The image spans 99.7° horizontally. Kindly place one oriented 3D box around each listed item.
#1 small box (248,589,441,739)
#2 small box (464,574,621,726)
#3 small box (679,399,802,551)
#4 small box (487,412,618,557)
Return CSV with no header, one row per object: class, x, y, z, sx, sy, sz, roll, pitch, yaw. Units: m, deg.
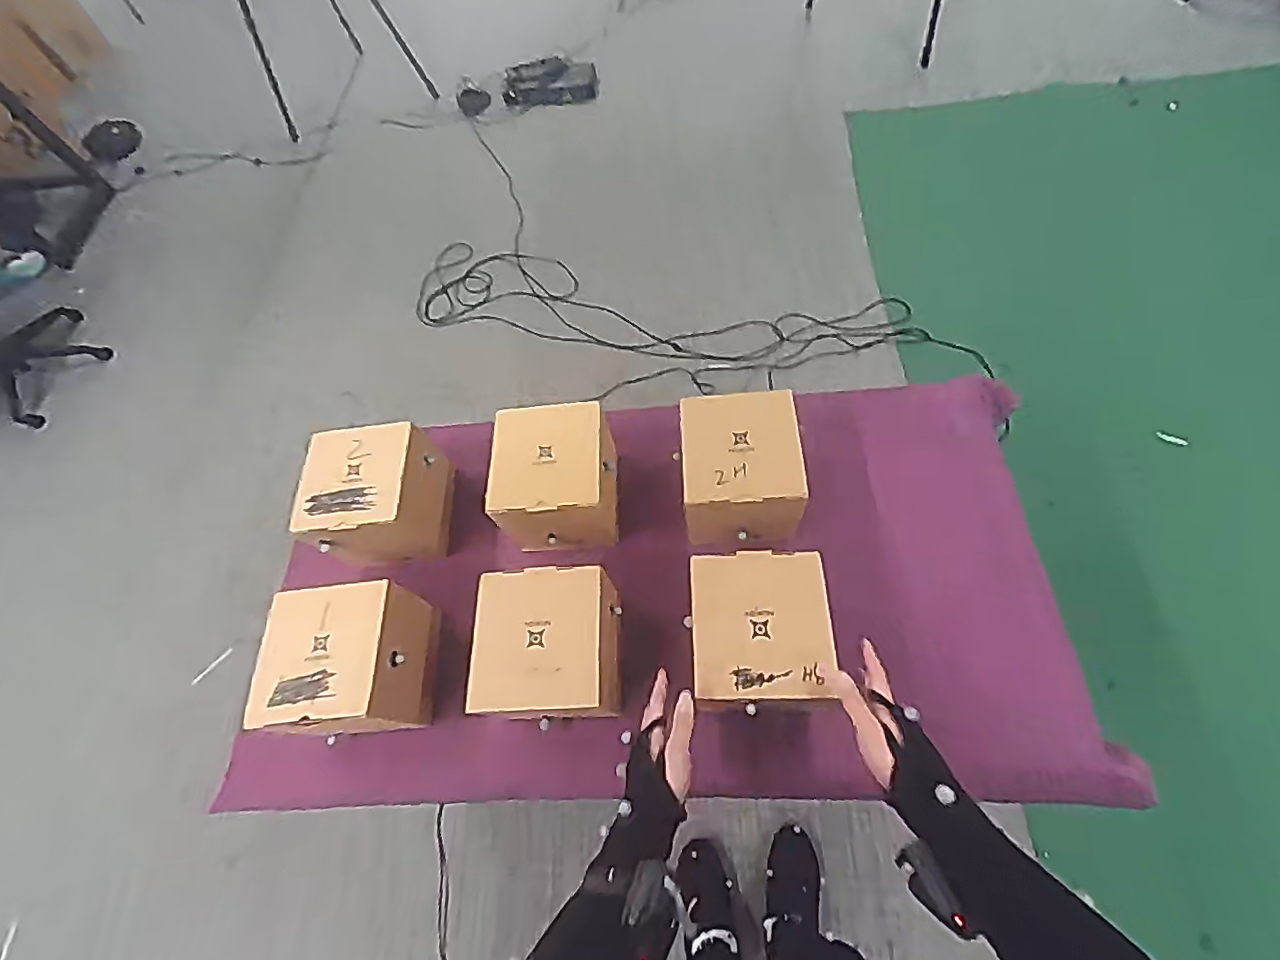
small box,-0.407,0.272,0.781,0.168,0.176,0.179,-7,60,5
small box,-0.123,0.243,0.755,0.168,0.176,0.179,-5,63,7
small box,0.148,-0.002,0.836,0.168,0.176,0.179,-4,63,8
small box,-0.131,0.012,0.875,0.168,0.176,0.179,-5,64,6
